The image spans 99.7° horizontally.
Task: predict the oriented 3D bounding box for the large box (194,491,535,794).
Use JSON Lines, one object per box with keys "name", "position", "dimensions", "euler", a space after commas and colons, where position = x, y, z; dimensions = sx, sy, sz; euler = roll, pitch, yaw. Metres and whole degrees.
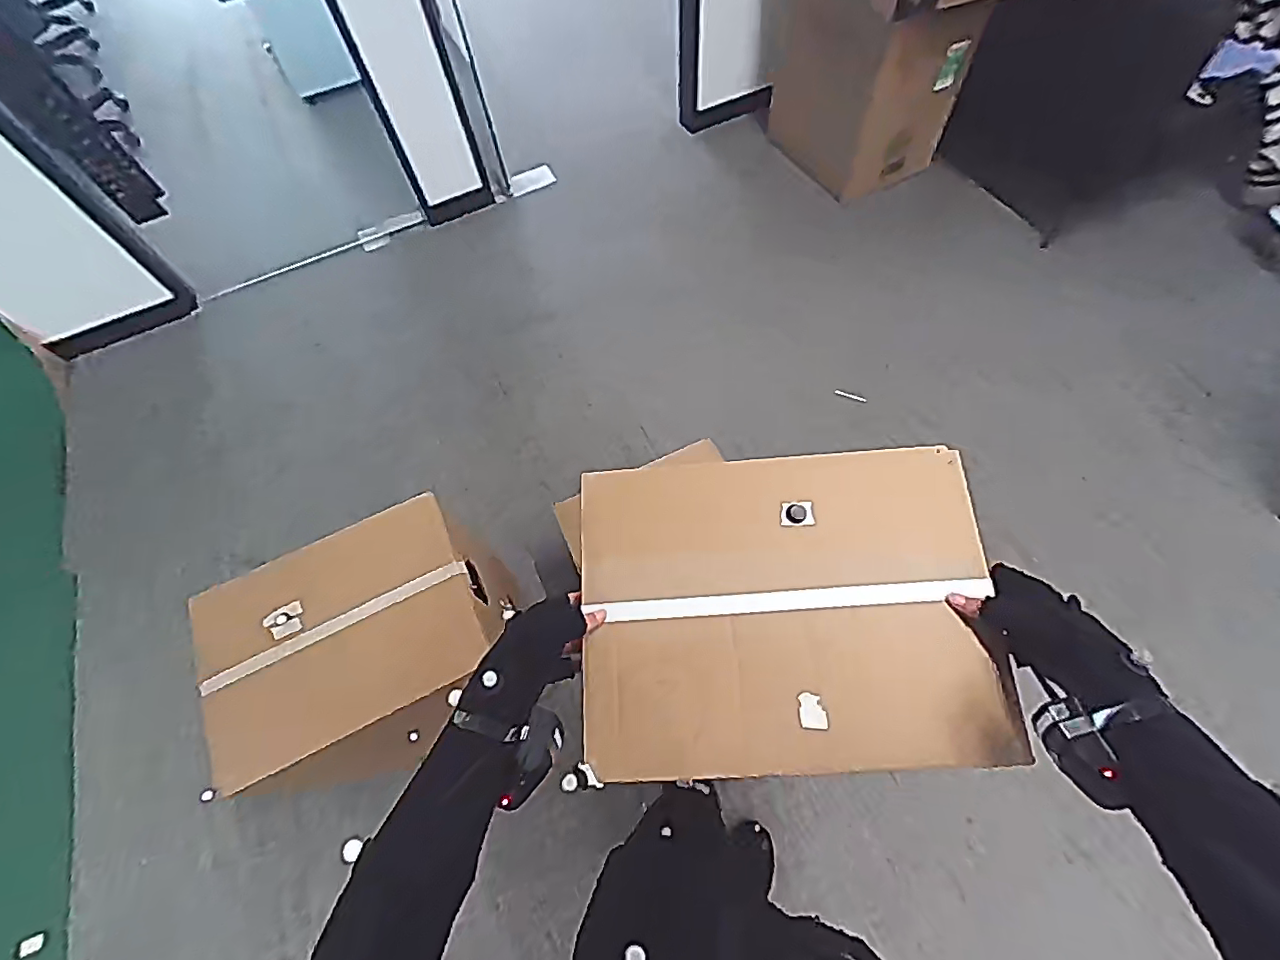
{"name": "large box", "position": [-0.453, 0.283, 0.959], "dimensions": [0.408, 0.320, 0.320], "euler": [-25, 66, -8]}
